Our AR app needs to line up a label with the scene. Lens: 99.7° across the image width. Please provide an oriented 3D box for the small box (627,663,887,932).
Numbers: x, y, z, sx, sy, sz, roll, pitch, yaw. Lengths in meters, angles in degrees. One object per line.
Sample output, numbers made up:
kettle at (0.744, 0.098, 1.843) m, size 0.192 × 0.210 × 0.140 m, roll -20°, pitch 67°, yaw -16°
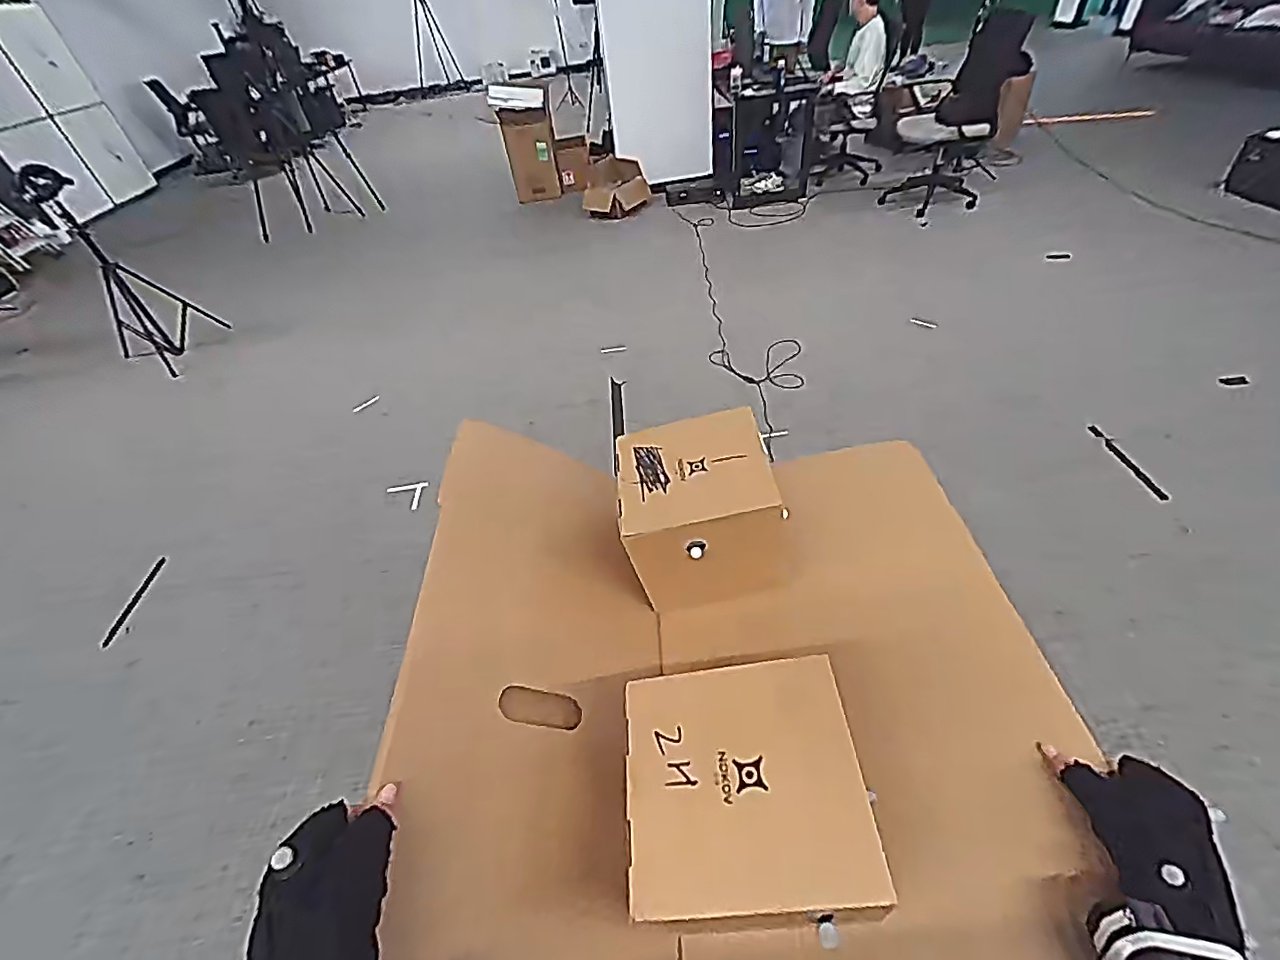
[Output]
small box at (0.093, 0.280, 0.470) m, size 0.179 × 0.176 × 0.168 m, roll -12°, pitch 46°, yaw 10°

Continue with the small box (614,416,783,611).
small box at (0.075, 0.049, 0.691) m, size 0.179 × 0.176 × 0.168 m, roll -13°, pitch 46°, yaw 7°
